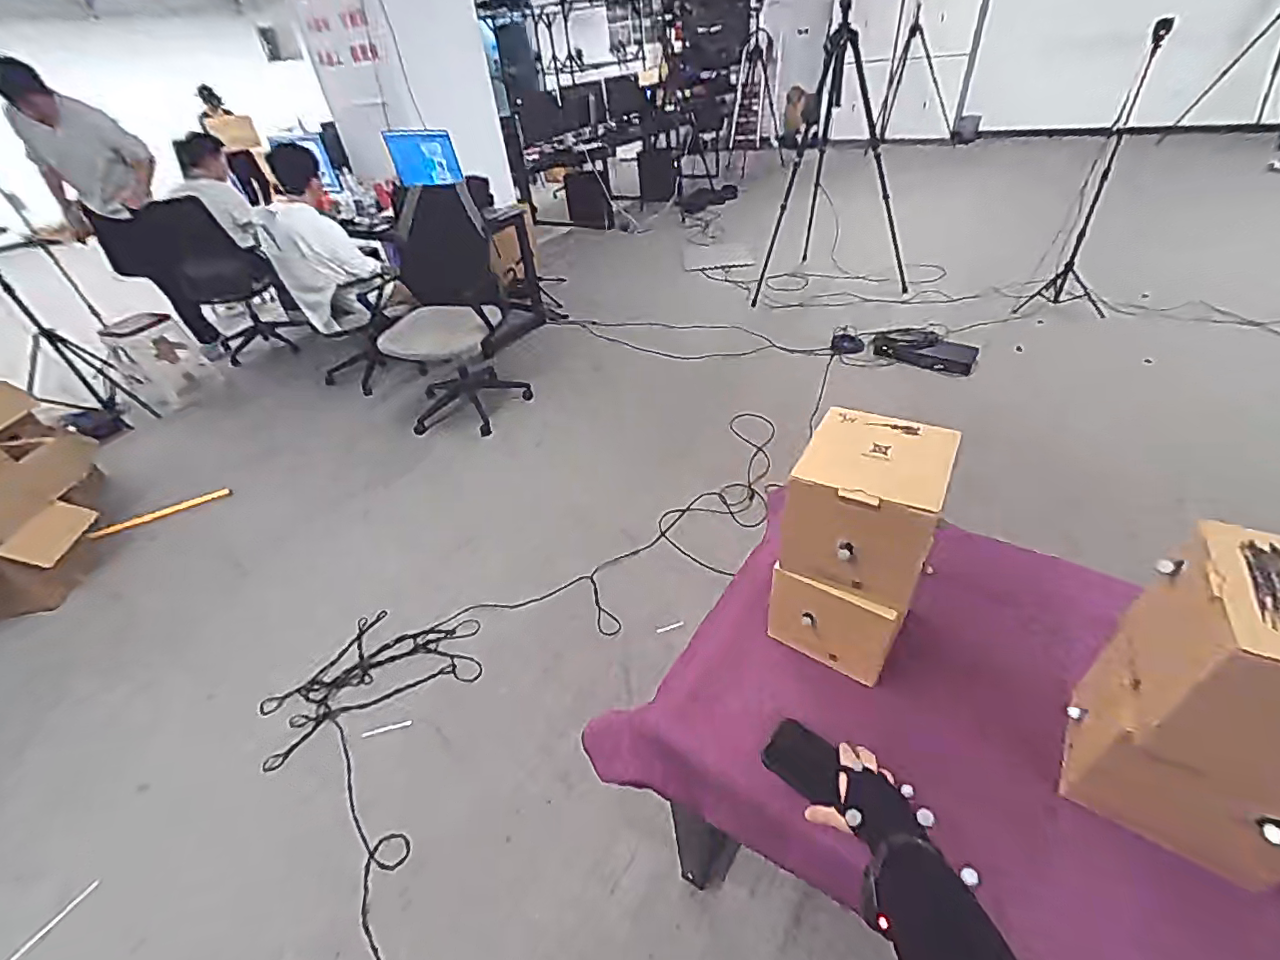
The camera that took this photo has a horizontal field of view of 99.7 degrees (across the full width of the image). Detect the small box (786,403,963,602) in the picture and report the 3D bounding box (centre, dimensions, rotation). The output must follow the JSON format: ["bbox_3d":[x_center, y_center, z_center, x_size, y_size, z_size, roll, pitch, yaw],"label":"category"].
[{"bbox_3d":[0.298,0.027,0.706,0.168,0.176,0.179,17,45,27],"label":"small box"}]

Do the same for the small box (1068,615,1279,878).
[{"bbox_3d":[0.610,0.288,0.587,0.179,0.176,0.168,21,46,31],"label":"small box"}]

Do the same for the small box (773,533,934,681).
[{"bbox_3d":[0.310,0.160,0.802,0.168,0.176,0.179,21,46,32],"label":"small box"}]
